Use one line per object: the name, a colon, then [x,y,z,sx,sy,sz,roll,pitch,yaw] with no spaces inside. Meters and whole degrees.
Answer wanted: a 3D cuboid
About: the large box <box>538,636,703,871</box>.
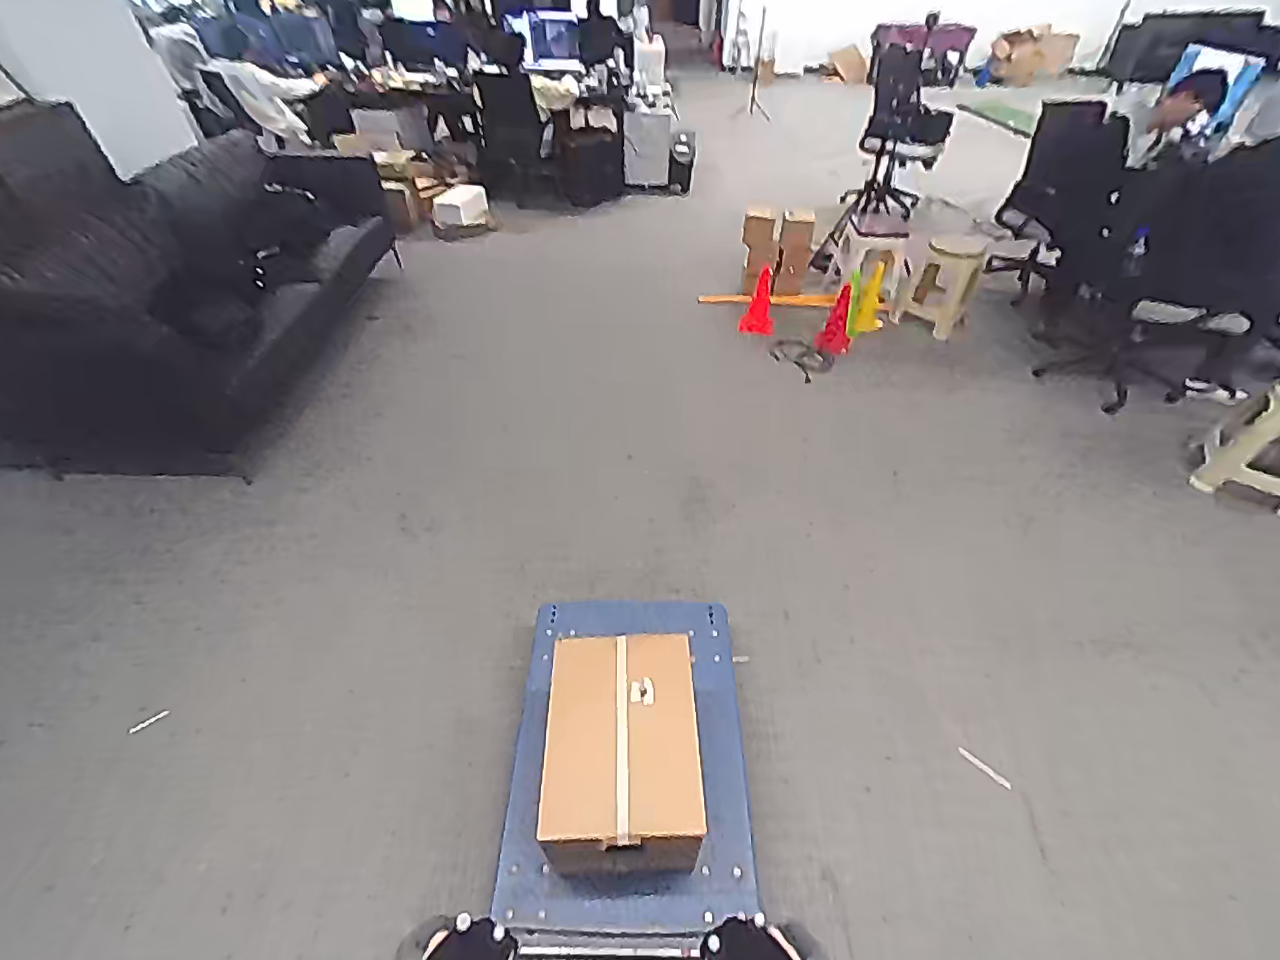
large box: [-0.039,0.620,1.239,0.320,0.320,0.408,-1,45,-1]
